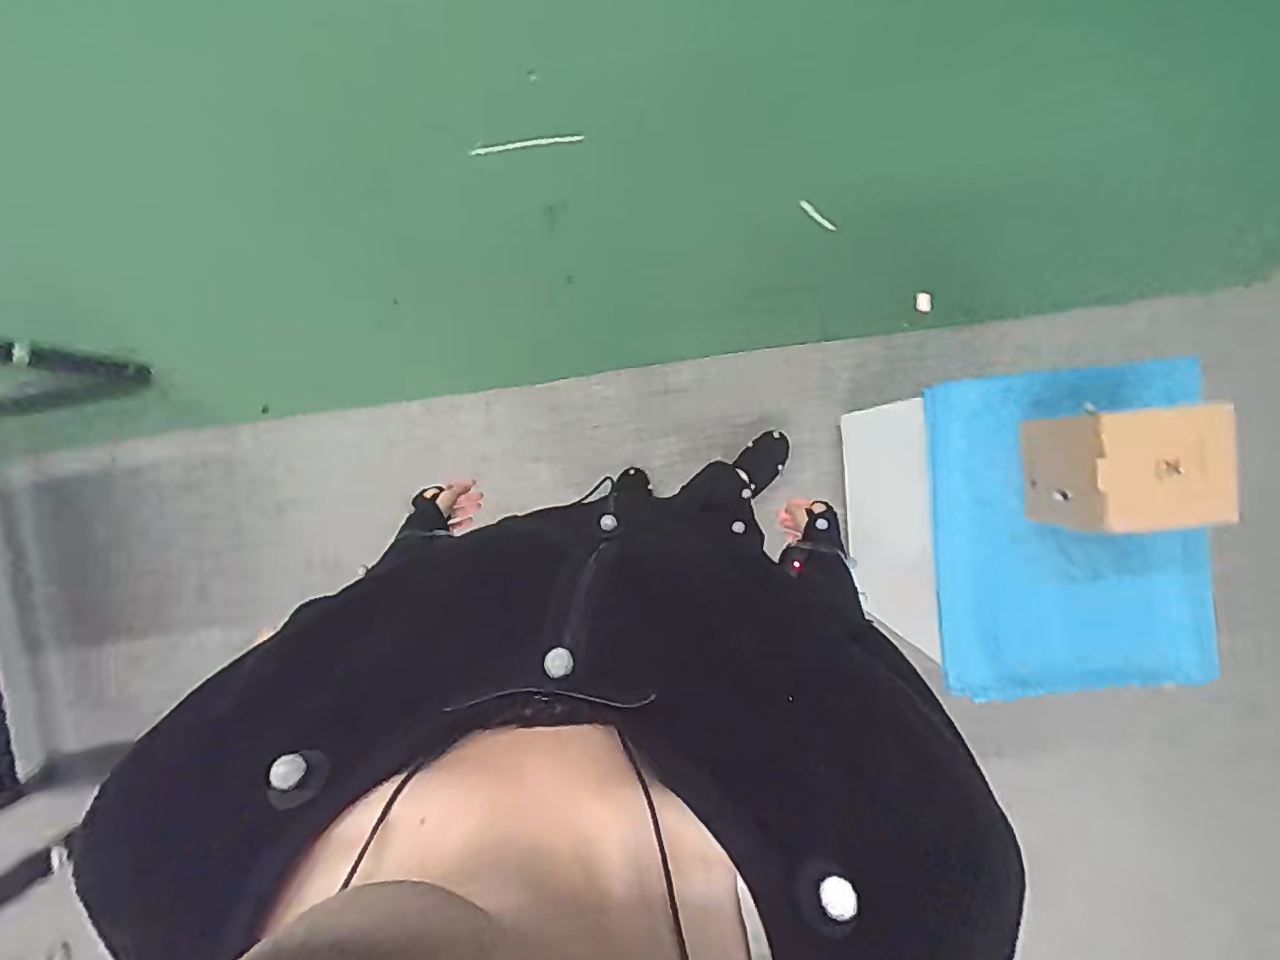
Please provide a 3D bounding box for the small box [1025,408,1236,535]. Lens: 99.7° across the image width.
[{"bbox_3d":[0.709,-0.015,0.803,0.179,0.176,0.168,-4,94,1],"label":"small box"}]
